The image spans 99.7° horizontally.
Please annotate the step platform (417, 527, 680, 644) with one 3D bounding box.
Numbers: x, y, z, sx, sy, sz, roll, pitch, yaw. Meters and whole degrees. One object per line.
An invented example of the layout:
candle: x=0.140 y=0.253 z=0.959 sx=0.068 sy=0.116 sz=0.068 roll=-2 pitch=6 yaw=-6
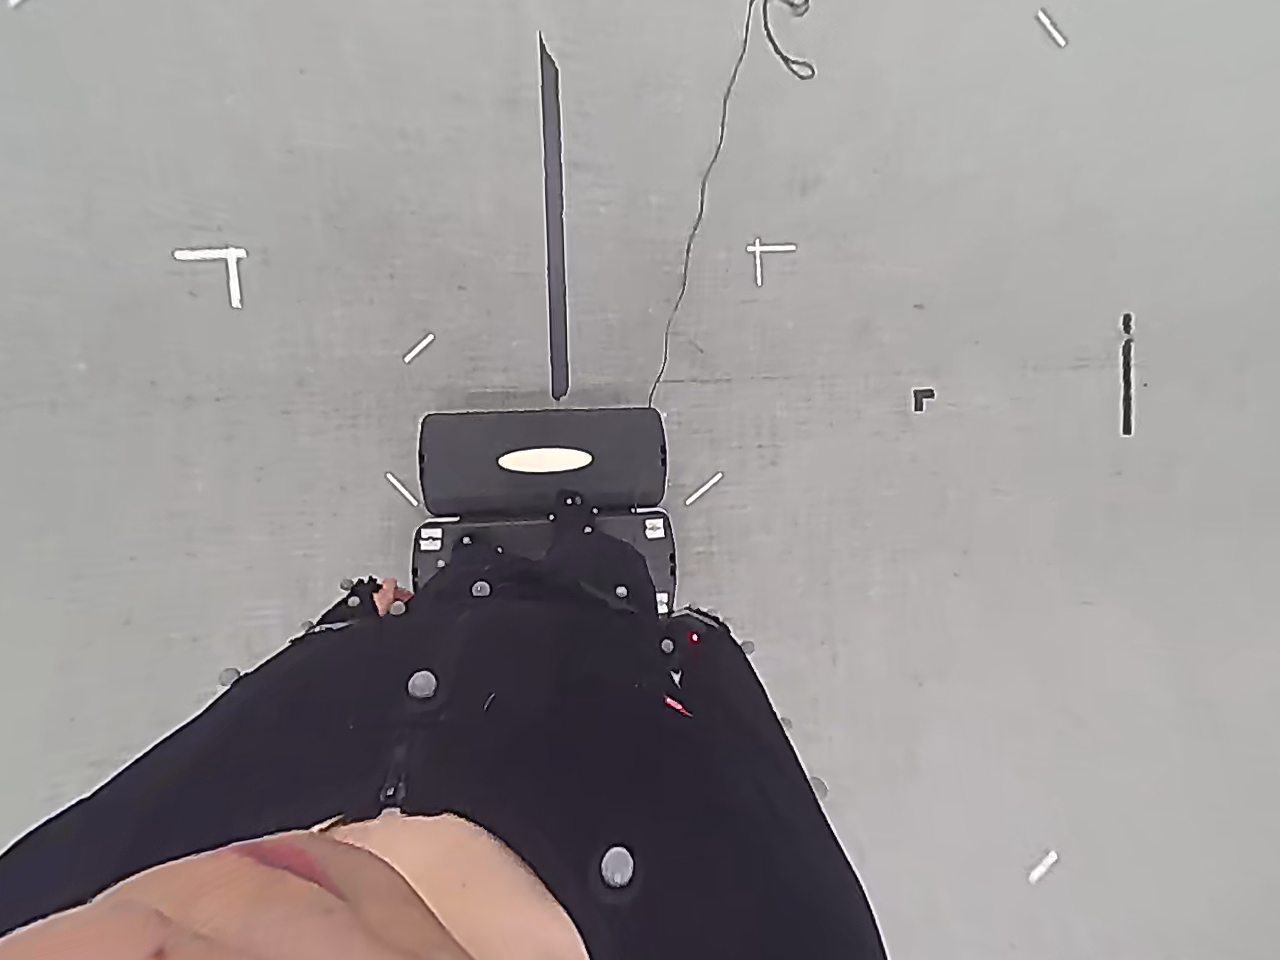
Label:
step platform: x=-0.232 y=0.281 z=1.457 sx=0.684 sy=0.204 sz=0.286 roll=2 pitch=88 yaw=-5
